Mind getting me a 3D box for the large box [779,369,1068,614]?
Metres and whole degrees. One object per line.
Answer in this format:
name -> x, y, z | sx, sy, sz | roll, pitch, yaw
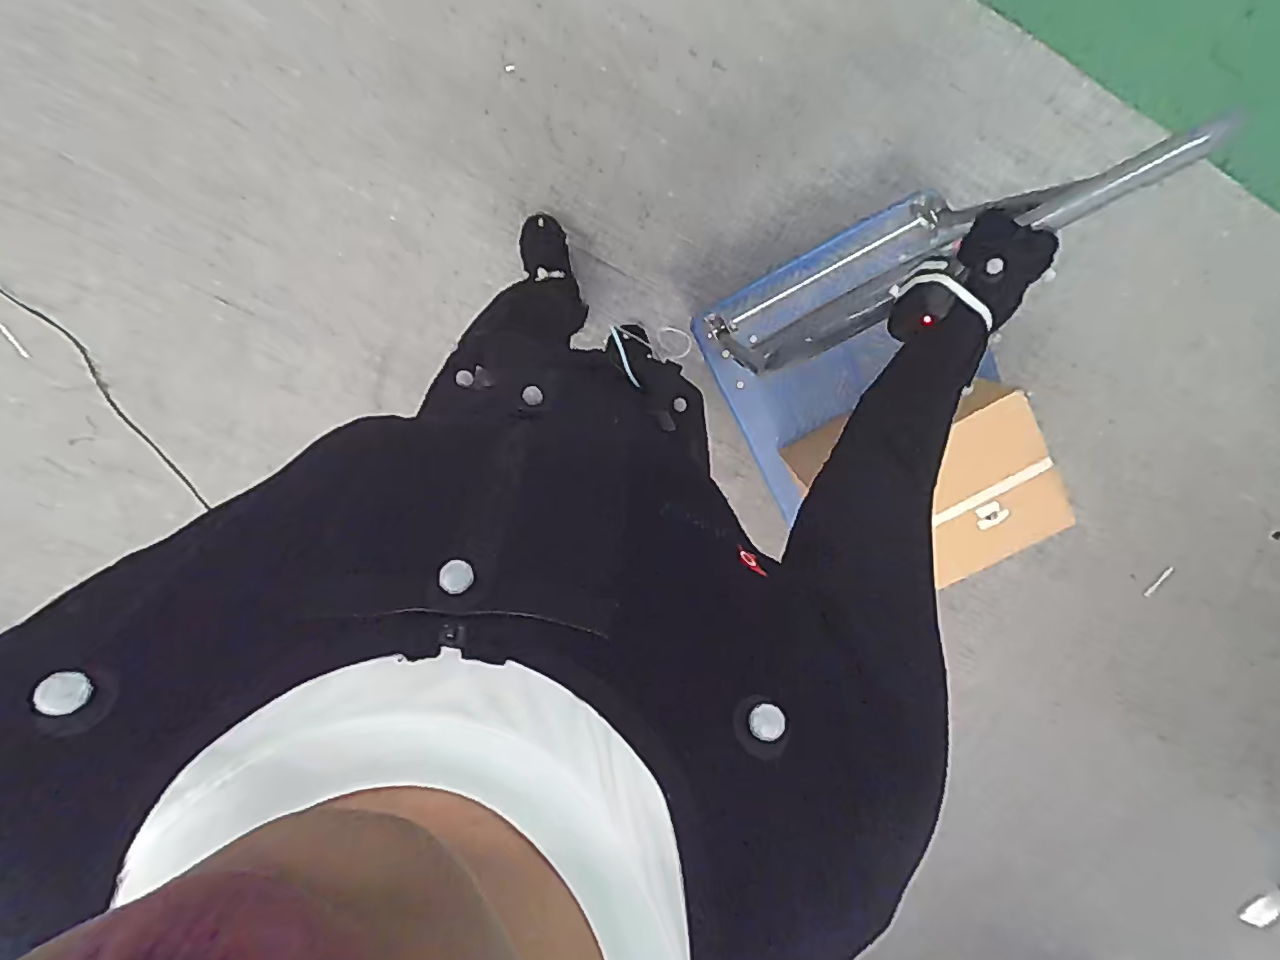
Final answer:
large box -> 0.578, 0.010, 1.173 | 0.408, 0.320, 0.320 | -31, 108, 9
